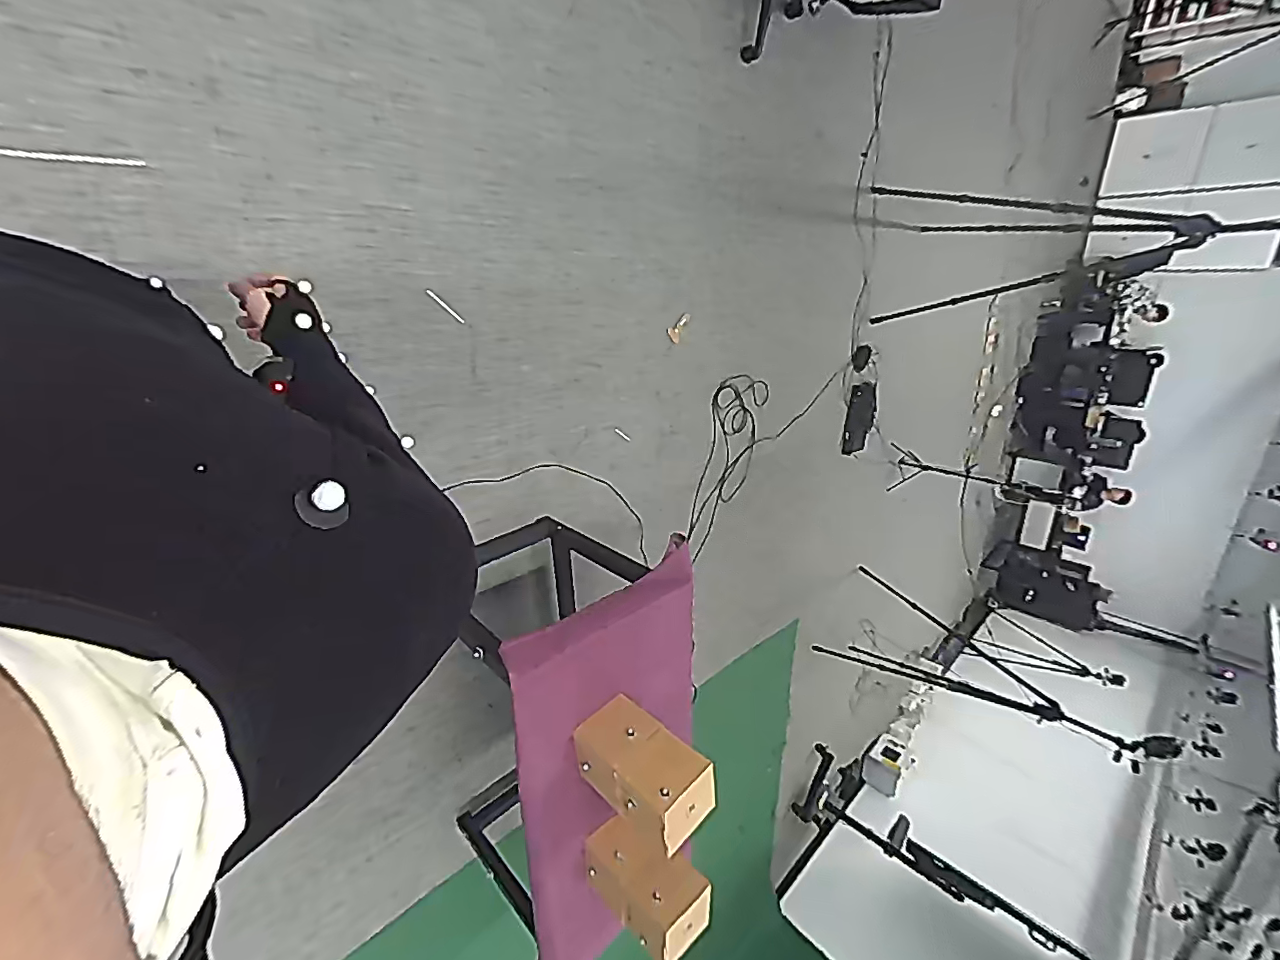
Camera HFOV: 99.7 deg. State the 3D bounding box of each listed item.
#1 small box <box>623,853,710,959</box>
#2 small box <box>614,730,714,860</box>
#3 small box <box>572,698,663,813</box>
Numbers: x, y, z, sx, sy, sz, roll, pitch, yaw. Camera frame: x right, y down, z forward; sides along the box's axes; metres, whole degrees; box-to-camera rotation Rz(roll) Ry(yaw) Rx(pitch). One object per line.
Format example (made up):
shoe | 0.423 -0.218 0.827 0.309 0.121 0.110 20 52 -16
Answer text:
small box | 0.067 1.155 1.463 0.179 0.176 0.168 -17 115 -40
small box | 0.060 0.755 1.317 0.179 0.176 0.168 -26 122 -36
small box | -0.055 0.714 1.425 0.179 0.176 0.168 -24 120 -38
